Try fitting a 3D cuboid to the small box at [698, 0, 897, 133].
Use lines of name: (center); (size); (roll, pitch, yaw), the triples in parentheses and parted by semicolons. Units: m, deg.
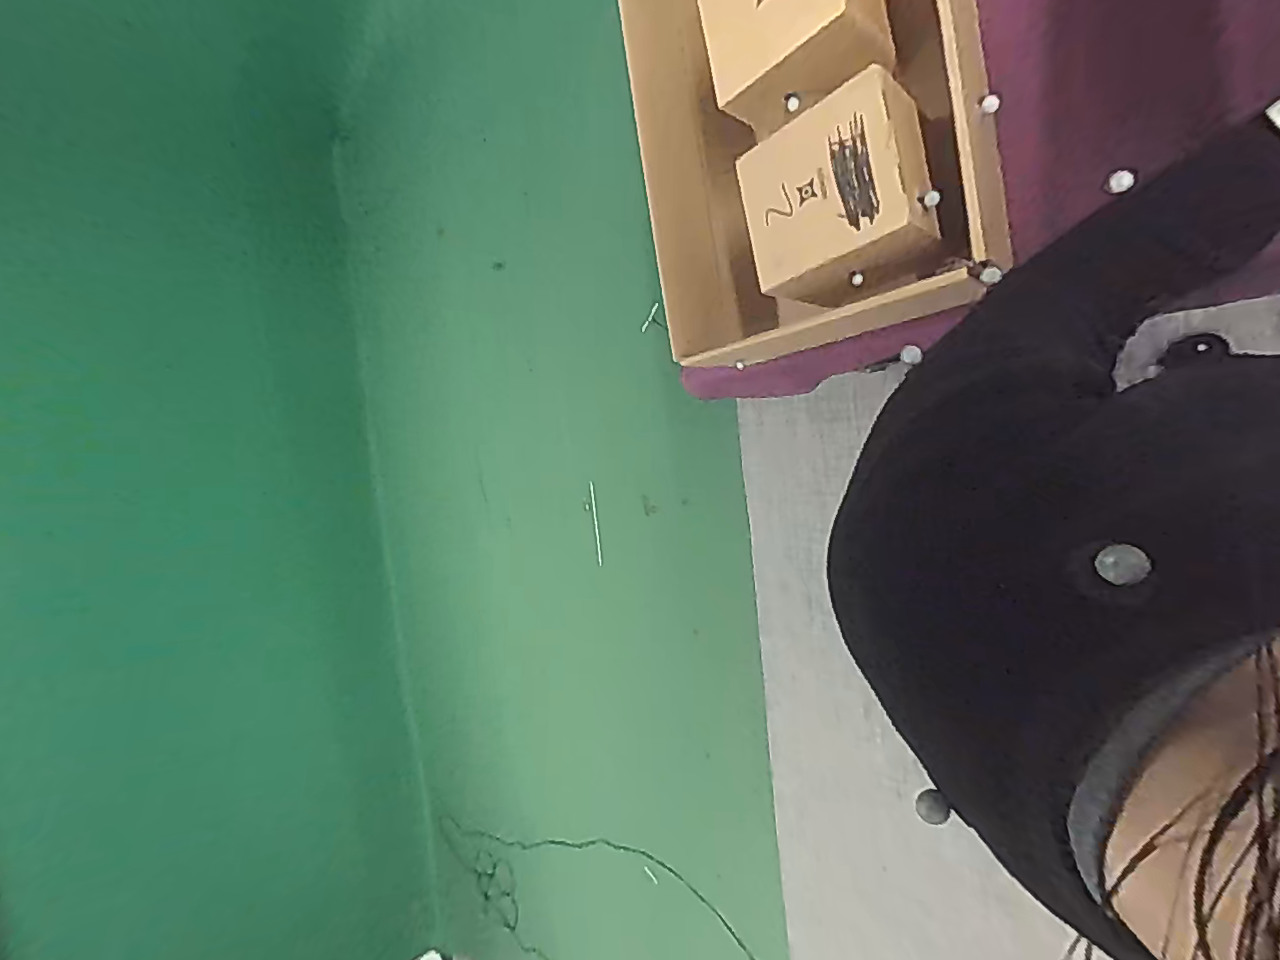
small box: (0.195, -0.565, 0.665); (0.168, 0.176, 0.179); (-10, 90, 46)
